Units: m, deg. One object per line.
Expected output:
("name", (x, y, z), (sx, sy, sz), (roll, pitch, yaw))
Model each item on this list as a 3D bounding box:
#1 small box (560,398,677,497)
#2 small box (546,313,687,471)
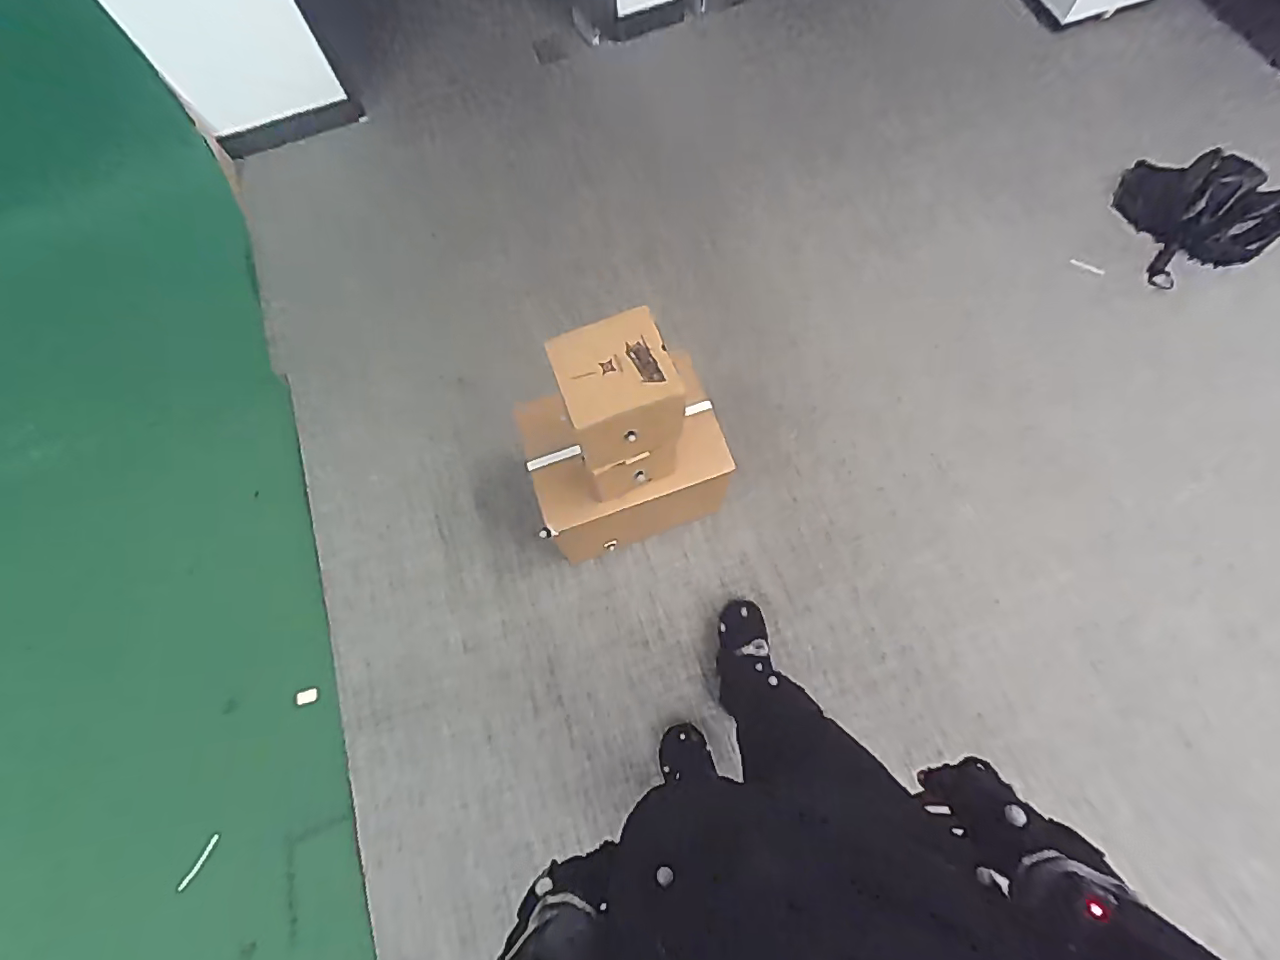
("small box", (-0.035, -0.081, 1.041), (0.168, 0.176, 0.179), (-23, 73, -5))
("small box", (-0.034, -0.135, 0.885), (0.179, 0.176, 0.168), (-20, 71, -3))
